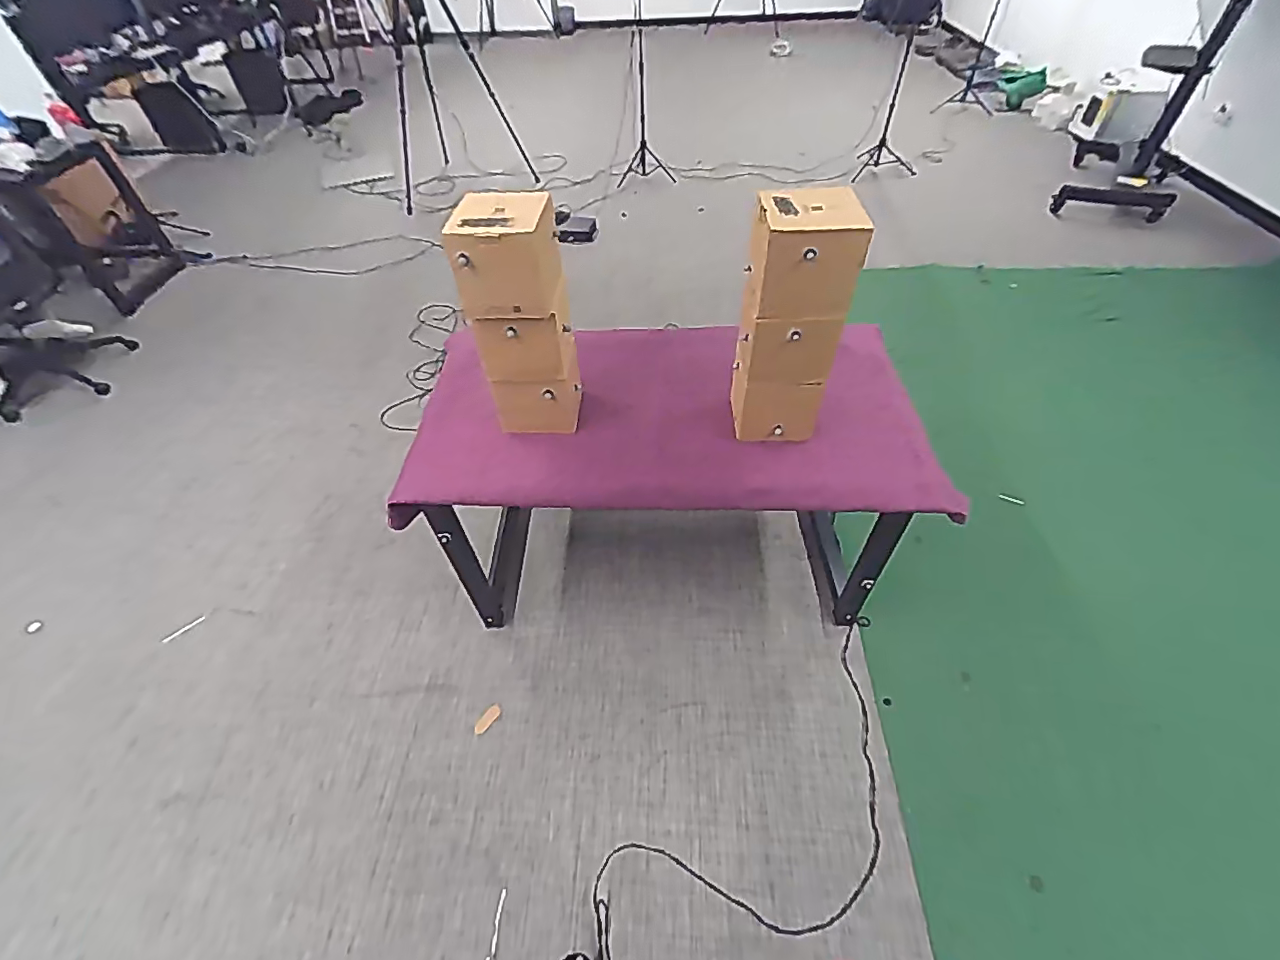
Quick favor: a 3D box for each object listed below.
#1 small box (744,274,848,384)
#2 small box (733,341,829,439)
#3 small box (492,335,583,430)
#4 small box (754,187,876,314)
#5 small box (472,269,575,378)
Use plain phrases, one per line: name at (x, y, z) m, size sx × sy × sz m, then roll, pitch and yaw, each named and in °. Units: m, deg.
small box at (0.313, -0.314, 1.130) m, size 0.179 × 0.176 × 0.168 m, roll 0°, pitch 50°, yaw 3°
small box at (0.317, -0.207, 1.252) m, size 0.179 × 0.176 × 0.168 m, roll 0°, pitch 49°, yaw 2°
small box at (-0.236, -0.233, 1.296) m, size 0.179 × 0.176 × 0.168 m, roll 1°, pitch 49°, yaw 2°
small box at (0.310, -0.423, 1.006) m, size 0.179 × 0.176 × 0.168 m, roll 0°, pitch 50°, yaw 2°
small box at (-0.240, -0.336, 1.171) m, size 0.179 × 0.176 × 0.168 m, roll 0°, pitch 50°, yaw 3°
